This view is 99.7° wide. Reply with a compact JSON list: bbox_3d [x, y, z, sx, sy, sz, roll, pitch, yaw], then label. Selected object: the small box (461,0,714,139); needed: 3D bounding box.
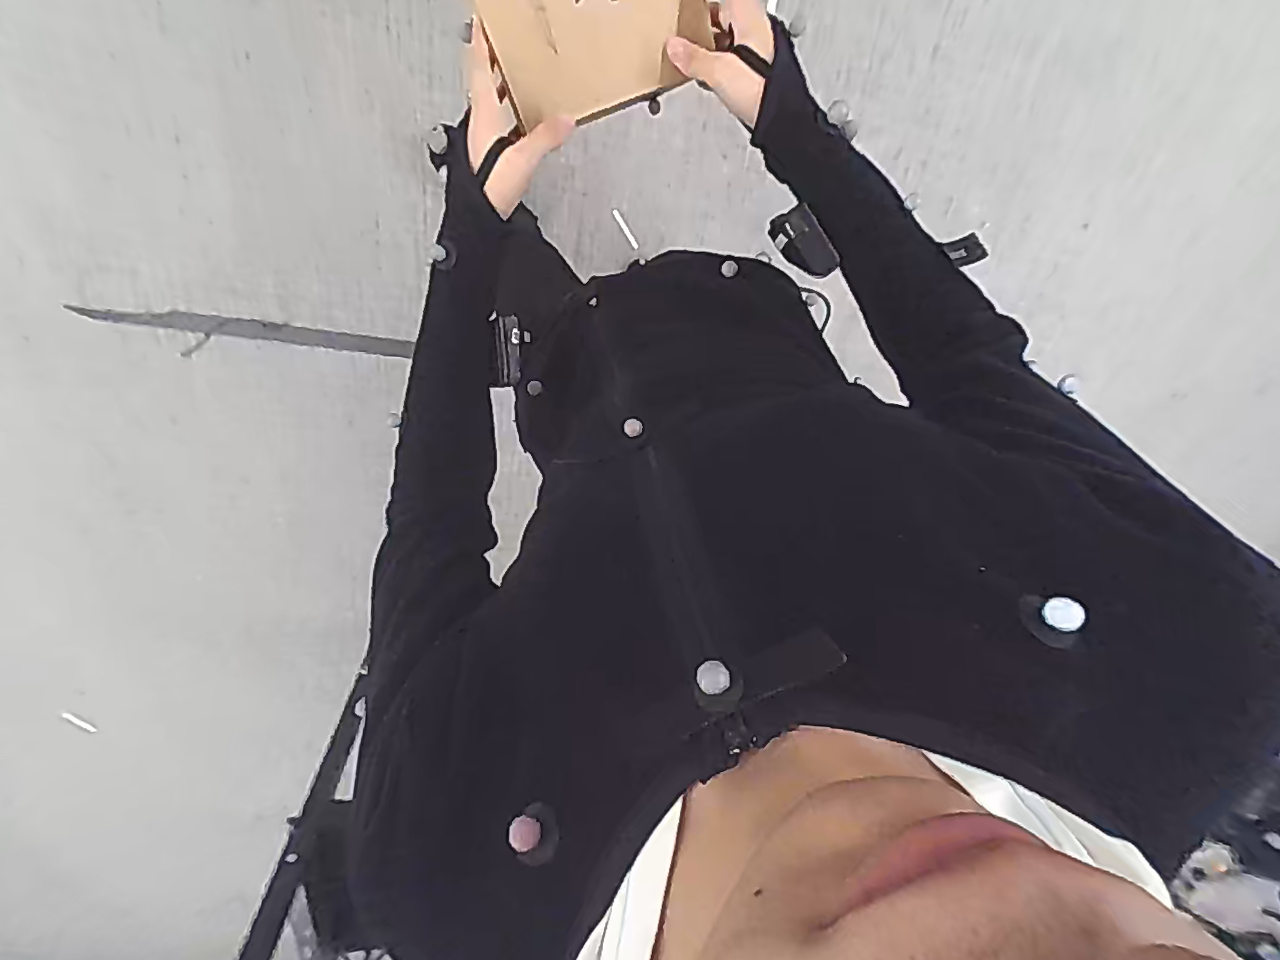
[{"bbox_3d":[-0.059,-0.419,0.471,0.179,0.176,0.168,-22,121,-2],"label":"small box"}]
